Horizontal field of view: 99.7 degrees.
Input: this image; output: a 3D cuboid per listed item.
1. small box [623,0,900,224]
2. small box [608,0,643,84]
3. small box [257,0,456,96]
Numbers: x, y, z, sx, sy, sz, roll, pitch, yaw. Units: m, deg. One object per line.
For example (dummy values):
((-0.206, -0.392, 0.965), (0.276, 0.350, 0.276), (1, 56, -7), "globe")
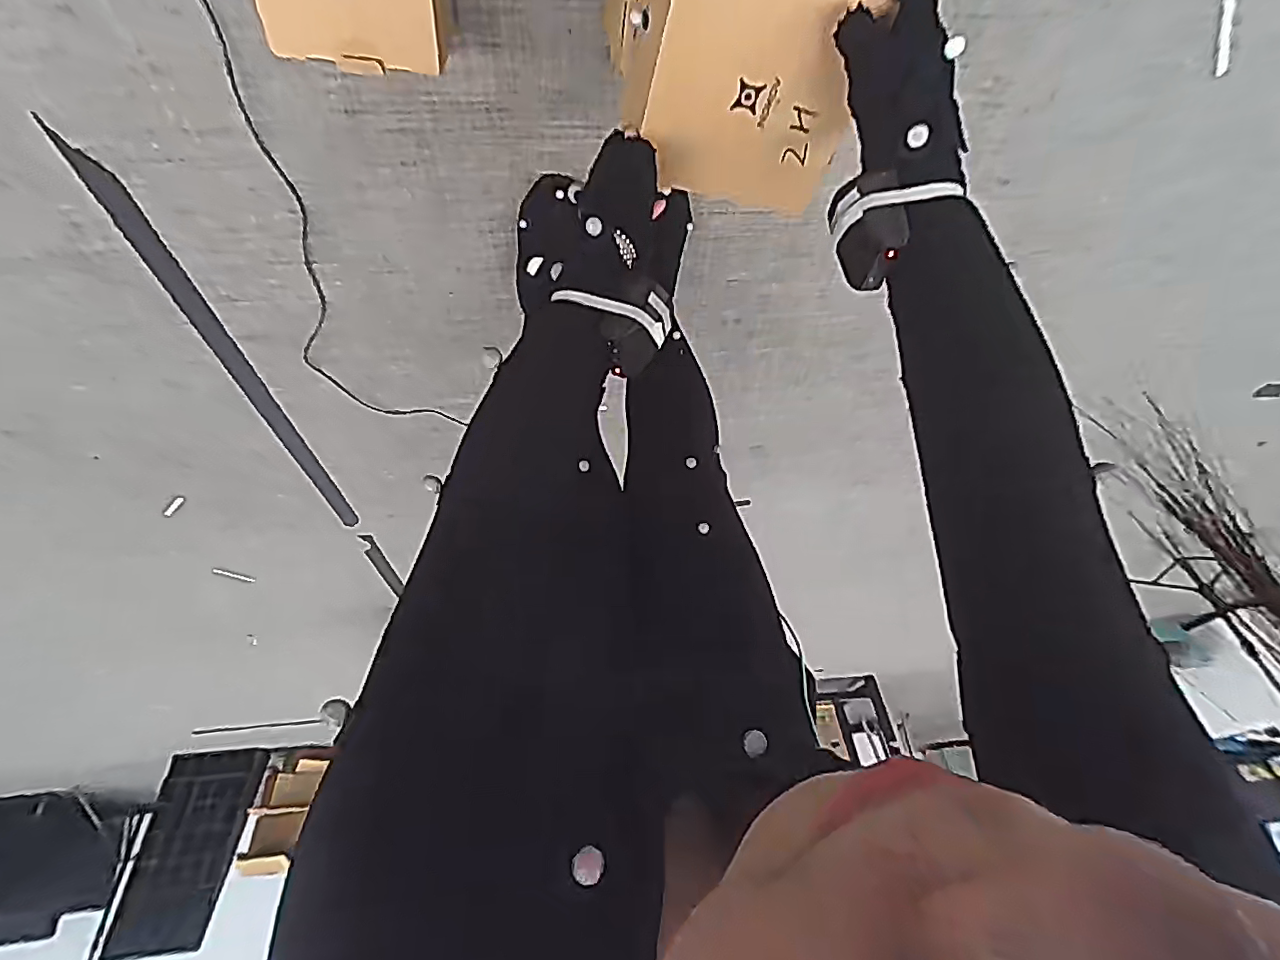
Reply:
((0.086, -0.369, 0.486), (0.179, 0.176, 0.168), (4, 147, -14), "small box")
((0.063, -0.548, 0.601), (0.179, 0.176, 0.168), (2, 143, -13), "small box")
((-0.288, -0.535, 0.553), (0.168, 0.176, 0.179), (0, 143, -11), "small box")
